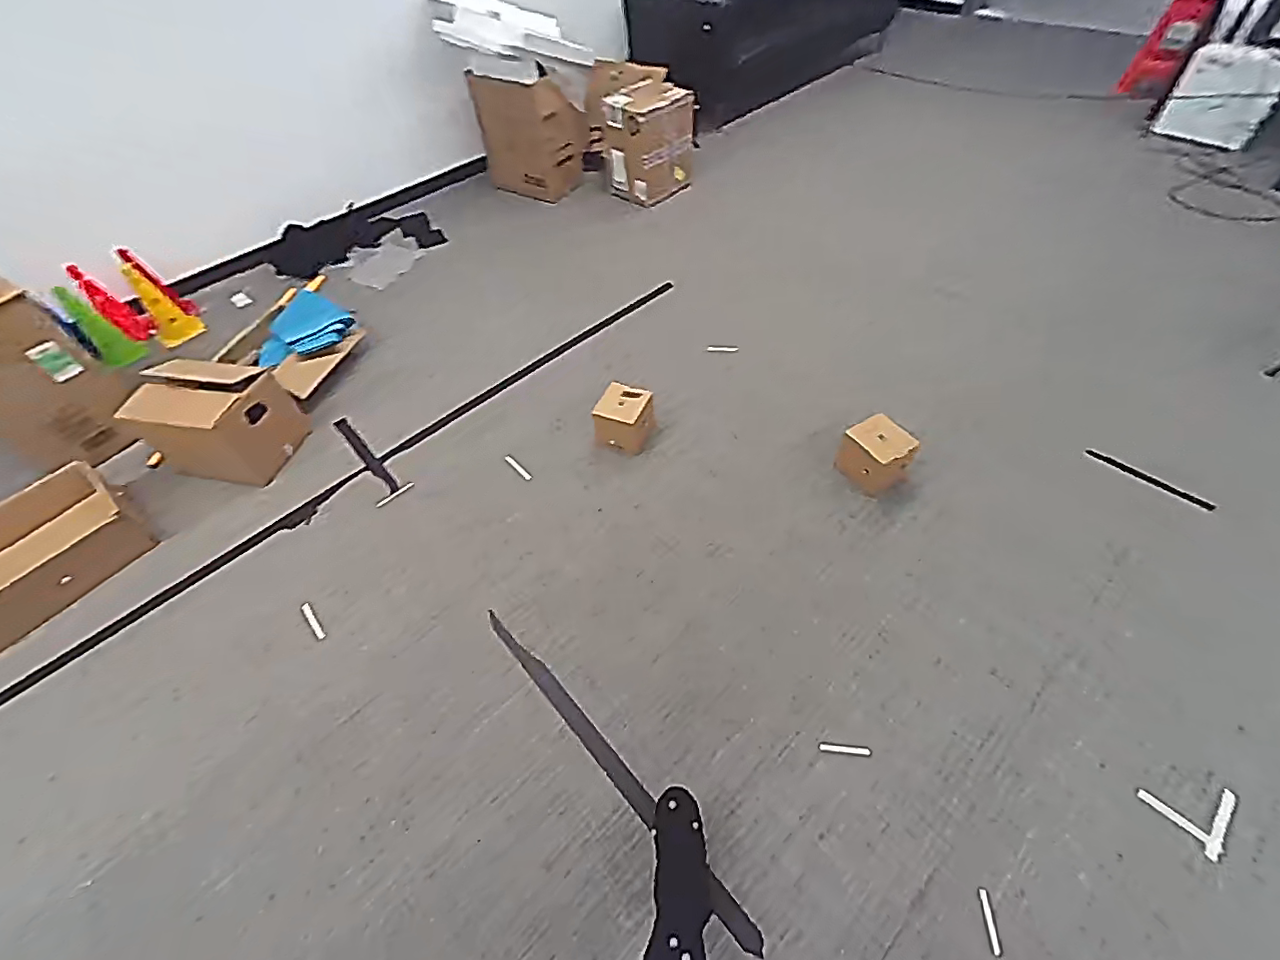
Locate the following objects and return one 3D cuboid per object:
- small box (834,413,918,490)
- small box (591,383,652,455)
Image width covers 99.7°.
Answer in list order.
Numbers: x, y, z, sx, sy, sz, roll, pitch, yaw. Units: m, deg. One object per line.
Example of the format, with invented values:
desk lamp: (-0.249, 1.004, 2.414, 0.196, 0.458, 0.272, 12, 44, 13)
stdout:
small box: (0.783, -0.088, 1.810, 0.168, 0.176, 0.179, -26, 53, -17)
small box: (-0.061, -0.224, 1.990, 0.168, 0.176, 0.179, 17, 56, 18)
